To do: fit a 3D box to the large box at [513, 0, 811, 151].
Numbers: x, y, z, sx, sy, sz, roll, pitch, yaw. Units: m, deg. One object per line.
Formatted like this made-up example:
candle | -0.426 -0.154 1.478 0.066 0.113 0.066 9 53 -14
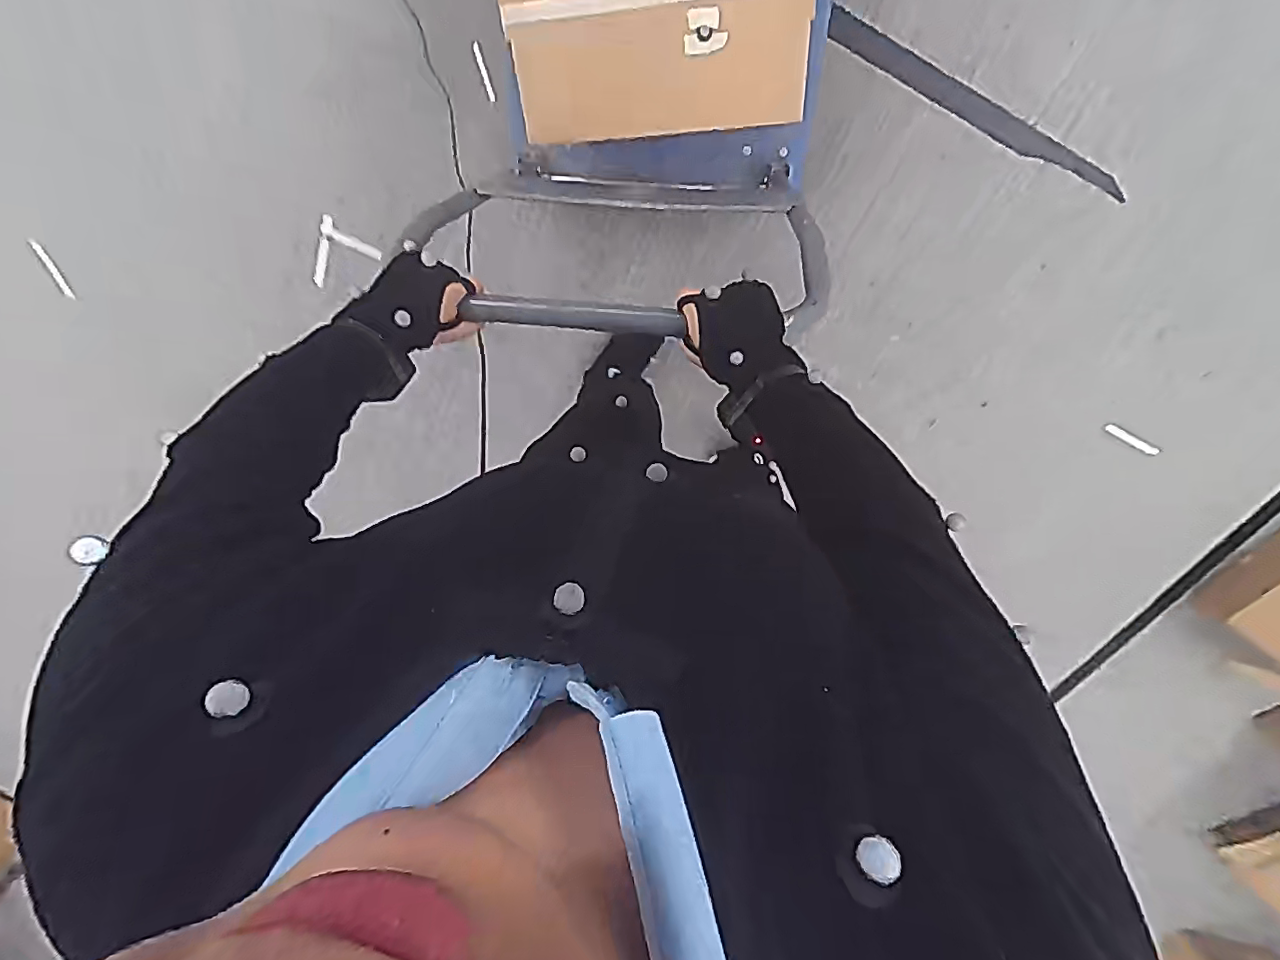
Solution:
large box | 0.039 -0.722 0.843 0.408 0.320 0.320 -1 124 8
